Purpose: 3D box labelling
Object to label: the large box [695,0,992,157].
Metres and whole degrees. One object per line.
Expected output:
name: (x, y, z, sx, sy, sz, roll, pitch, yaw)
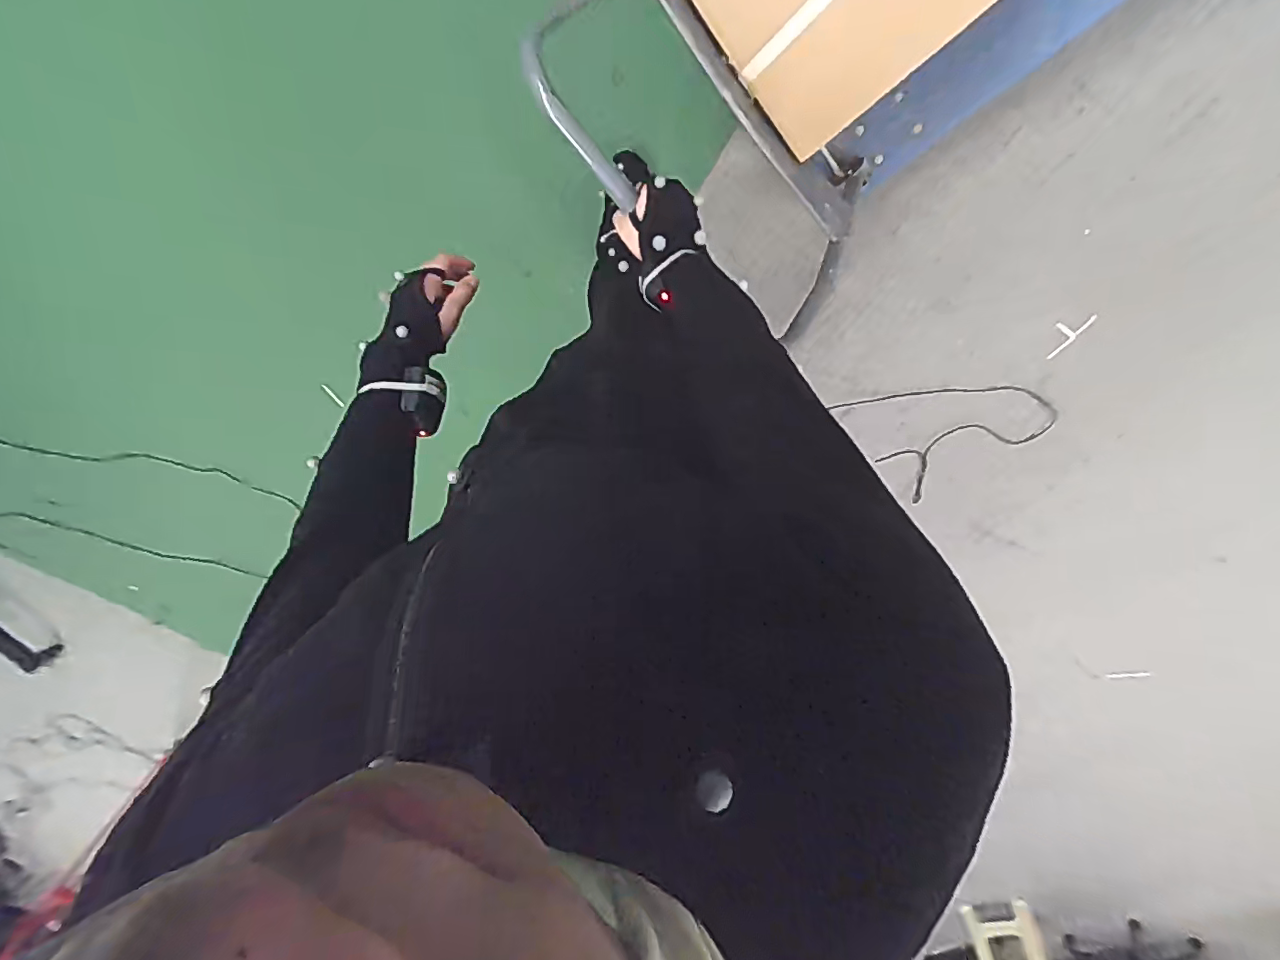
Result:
large box: (0.342, -0.792, 0.810, 0.408, 0.320, 0.320, -27, 117, 40)
